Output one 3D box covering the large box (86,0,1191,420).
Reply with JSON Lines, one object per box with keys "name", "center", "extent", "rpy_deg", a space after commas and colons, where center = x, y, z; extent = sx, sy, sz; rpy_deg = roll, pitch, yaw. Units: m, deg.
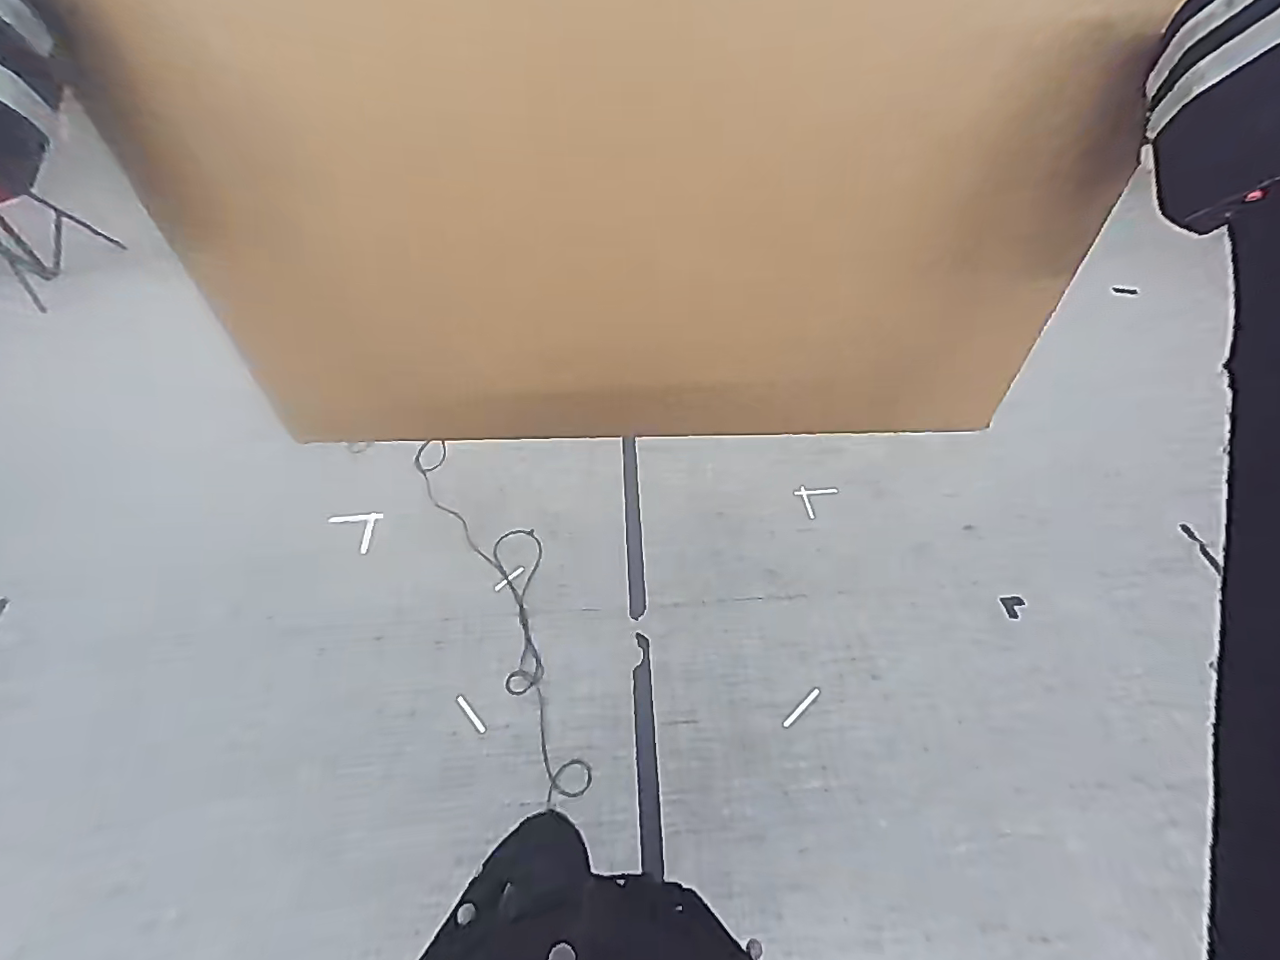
{"name": "large box", "center": [-0.001, -0.247, 0.321], "extent": [0.408, 0.320, 0.320], "rpy_deg": [0, 45, -1]}
